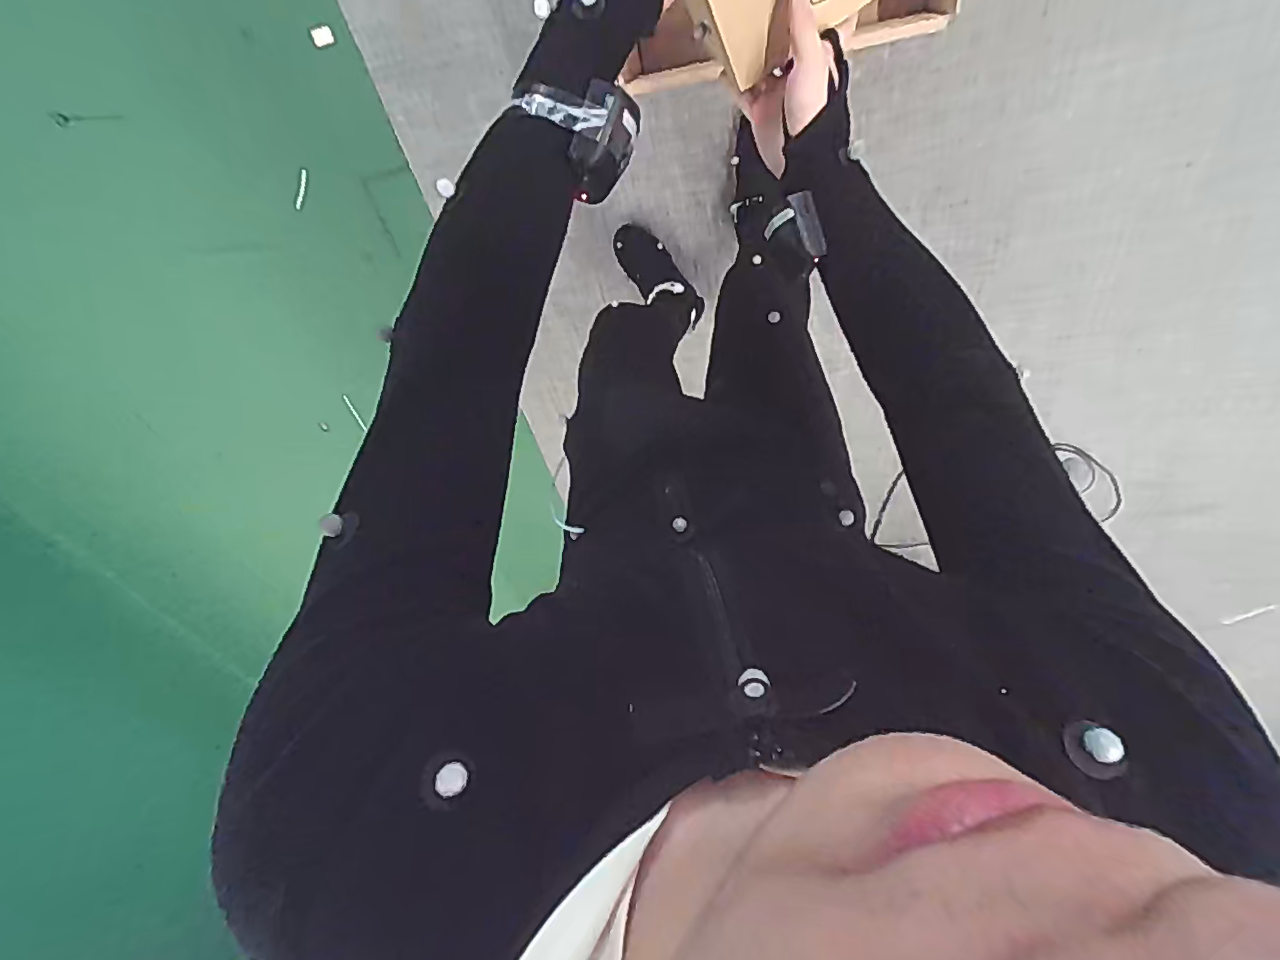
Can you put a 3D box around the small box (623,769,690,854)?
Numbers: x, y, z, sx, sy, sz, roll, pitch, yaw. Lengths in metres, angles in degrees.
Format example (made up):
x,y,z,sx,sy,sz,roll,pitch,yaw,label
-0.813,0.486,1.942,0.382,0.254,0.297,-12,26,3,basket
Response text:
x,y,z,sx,sy,sz,roll,pitch,yaw,label
0.057,1.013,1.663,0.179,0.176,0.168,3,132,12,small box
